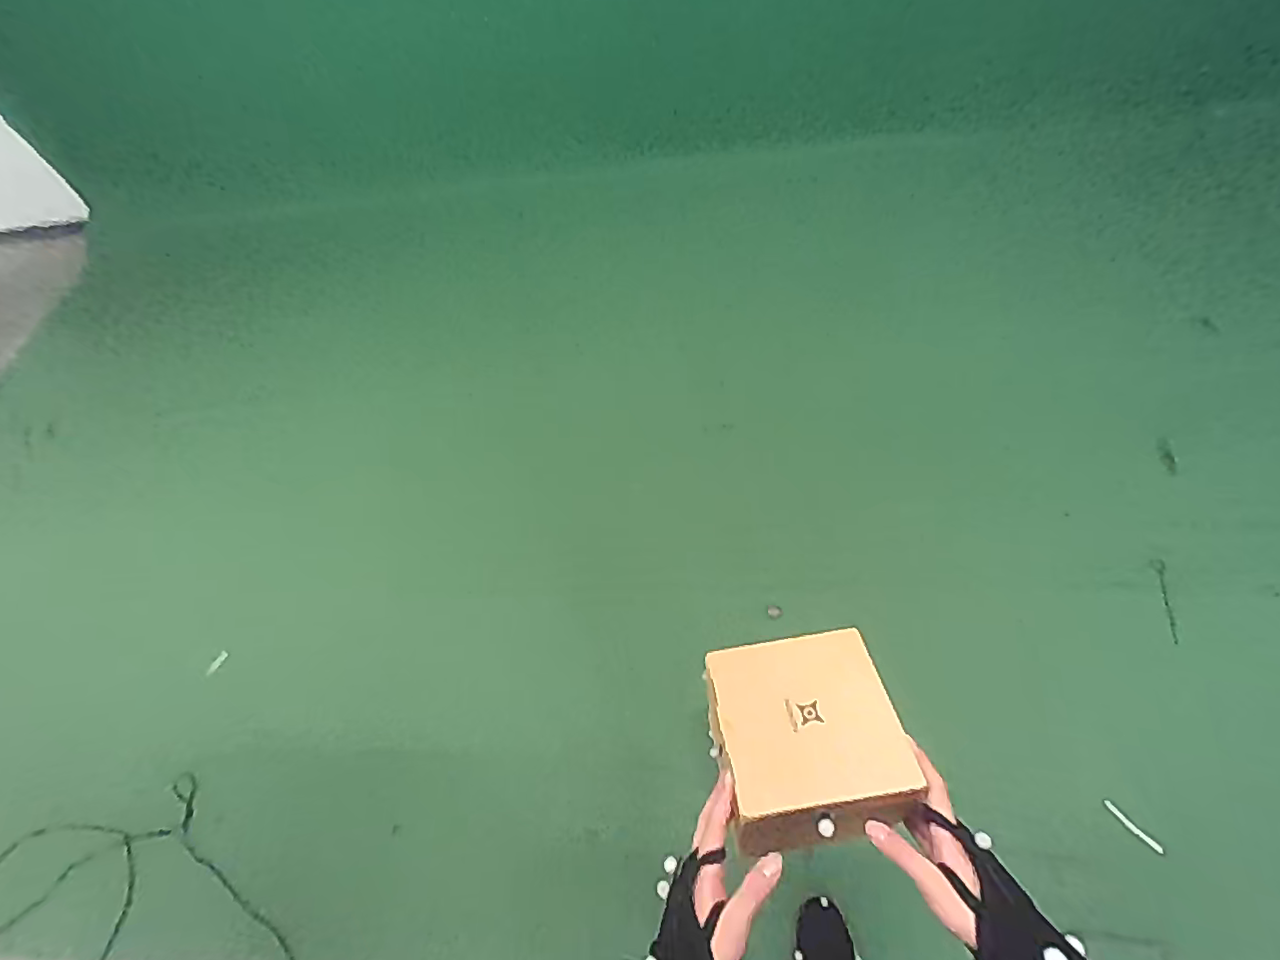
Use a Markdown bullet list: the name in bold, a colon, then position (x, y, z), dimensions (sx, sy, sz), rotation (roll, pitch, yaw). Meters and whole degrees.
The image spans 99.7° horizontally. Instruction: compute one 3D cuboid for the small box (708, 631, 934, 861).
- **small box**: position (0.178, 0.291, 0.589), dimensions (0.179, 0.176, 0.168), rotation (-11, 44, 1)
